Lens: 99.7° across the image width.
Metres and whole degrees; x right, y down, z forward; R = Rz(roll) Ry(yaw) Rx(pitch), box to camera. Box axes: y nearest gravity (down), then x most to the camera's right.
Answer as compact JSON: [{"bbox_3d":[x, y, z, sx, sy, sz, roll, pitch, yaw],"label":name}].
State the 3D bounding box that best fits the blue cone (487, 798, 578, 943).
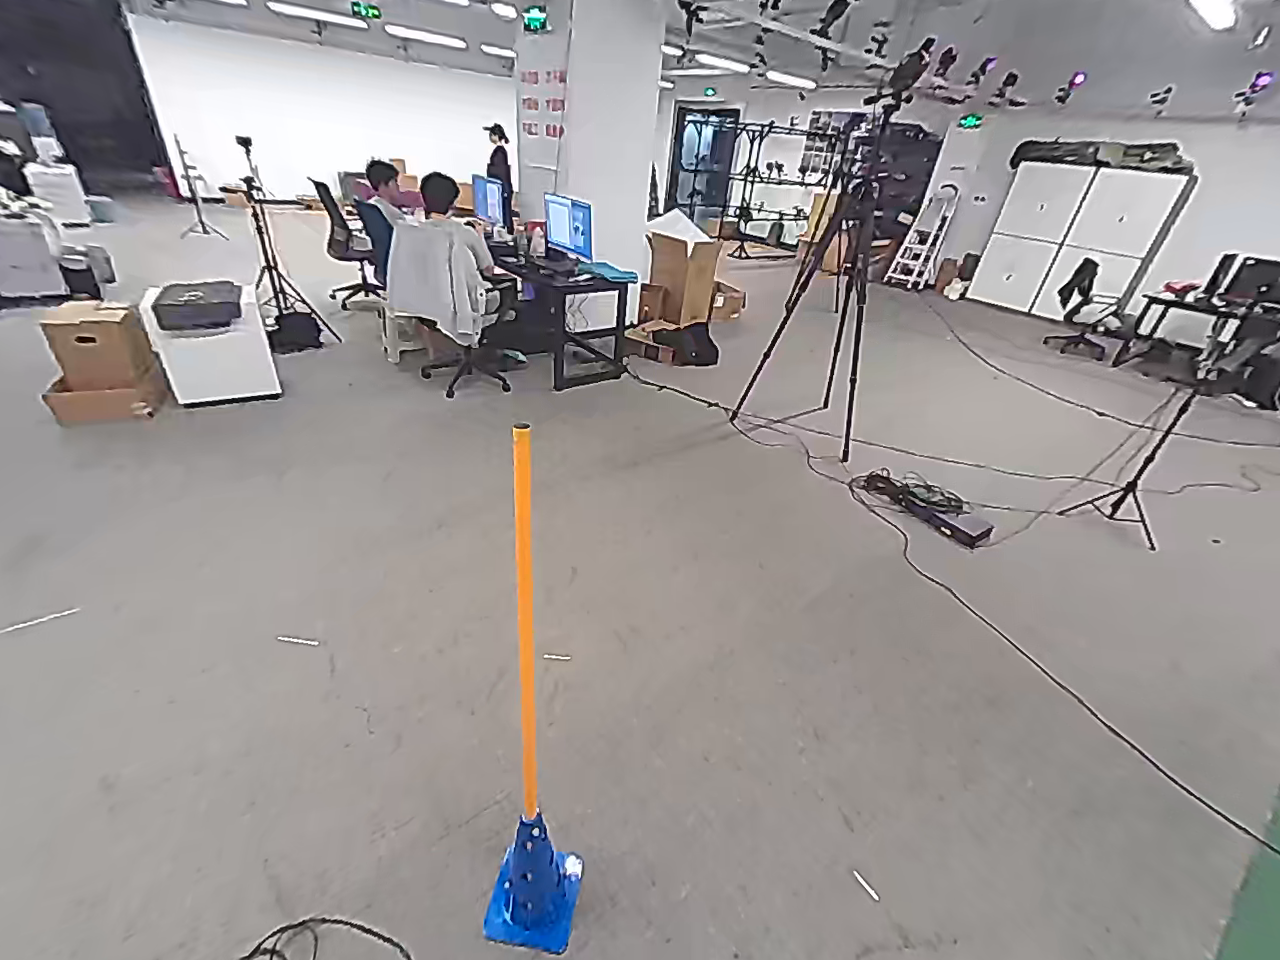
[{"bbox_3d":[-0.239,0.833,1.203,0.192,0.380,0.193,8,29,3],"label":"blue cone"}]
